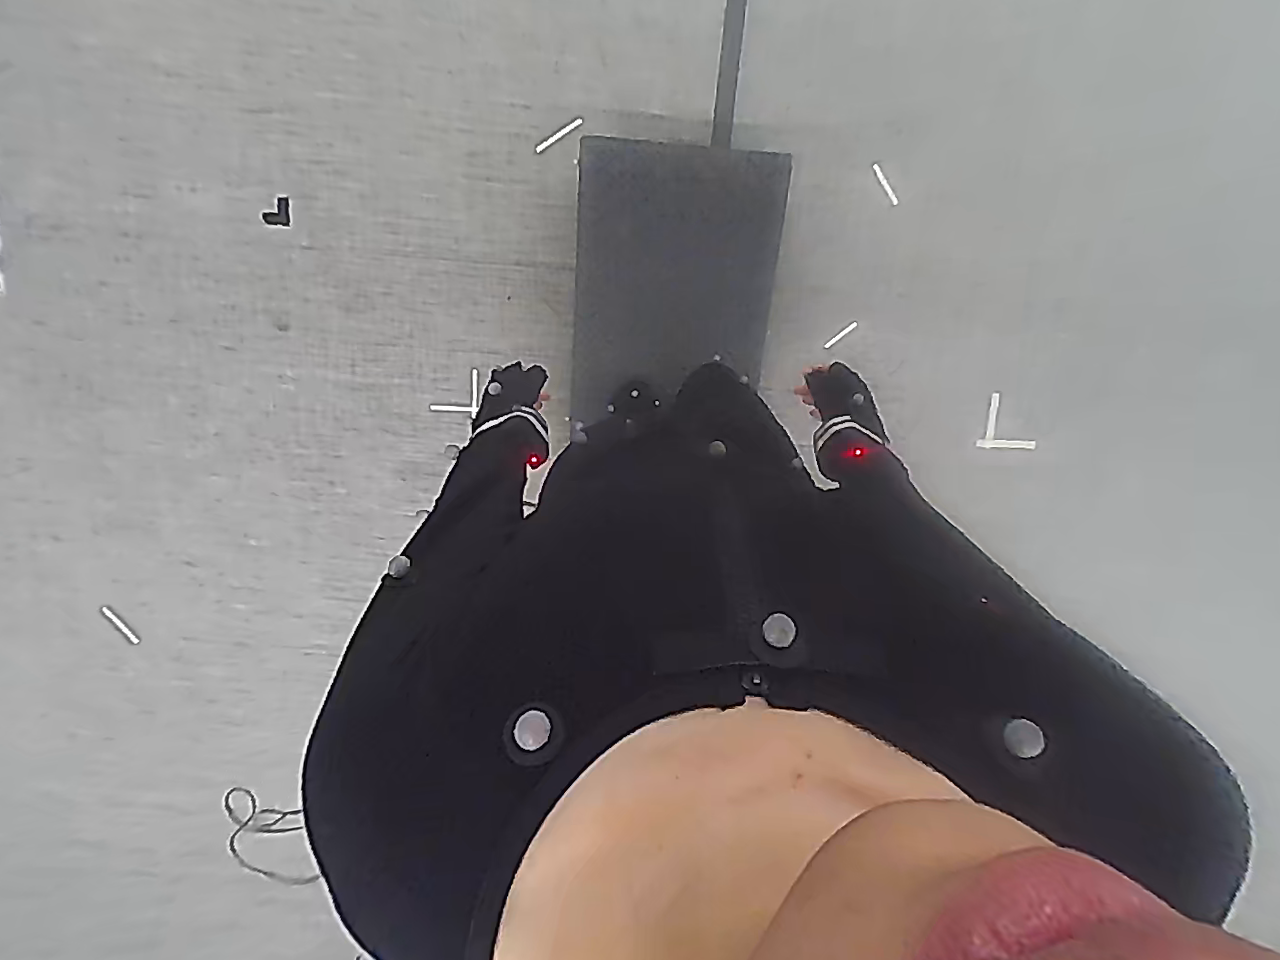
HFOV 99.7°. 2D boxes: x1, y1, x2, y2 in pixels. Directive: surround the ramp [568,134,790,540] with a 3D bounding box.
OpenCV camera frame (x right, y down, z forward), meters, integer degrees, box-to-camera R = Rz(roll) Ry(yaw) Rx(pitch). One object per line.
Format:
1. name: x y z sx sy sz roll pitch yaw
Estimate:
1. ramp: 0.070 -0.303 1.400 0.509 0.206 0.991 2 100 -3
